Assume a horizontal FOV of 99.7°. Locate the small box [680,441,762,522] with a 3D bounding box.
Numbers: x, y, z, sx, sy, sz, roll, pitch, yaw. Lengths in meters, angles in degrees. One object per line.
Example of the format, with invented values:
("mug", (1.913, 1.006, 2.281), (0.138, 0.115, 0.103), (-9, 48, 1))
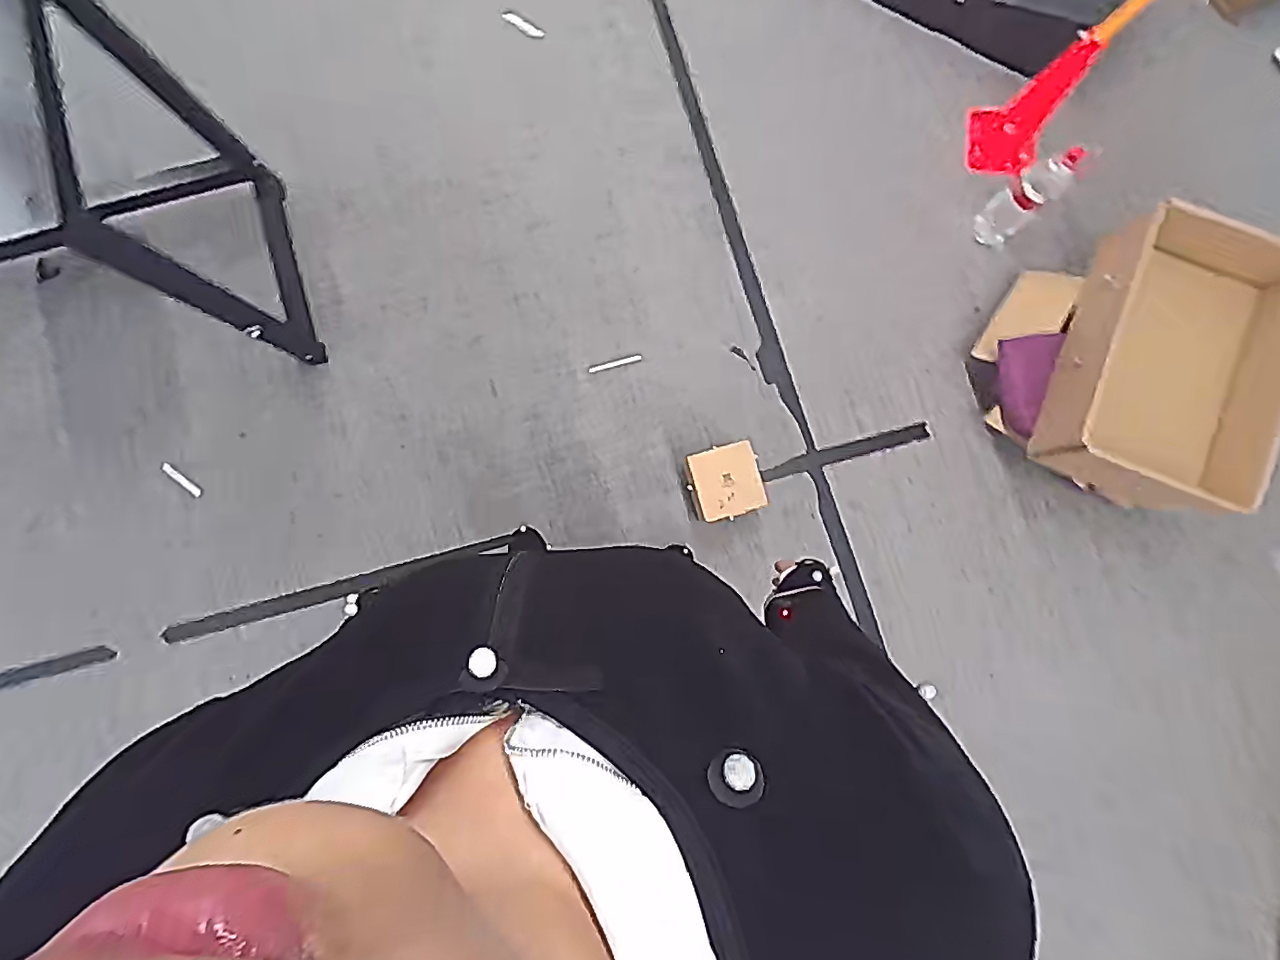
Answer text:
("small box", (0.209, 0.011, 1.442), (0.168, 0.176, 0.179), (-15, 86, -1))
